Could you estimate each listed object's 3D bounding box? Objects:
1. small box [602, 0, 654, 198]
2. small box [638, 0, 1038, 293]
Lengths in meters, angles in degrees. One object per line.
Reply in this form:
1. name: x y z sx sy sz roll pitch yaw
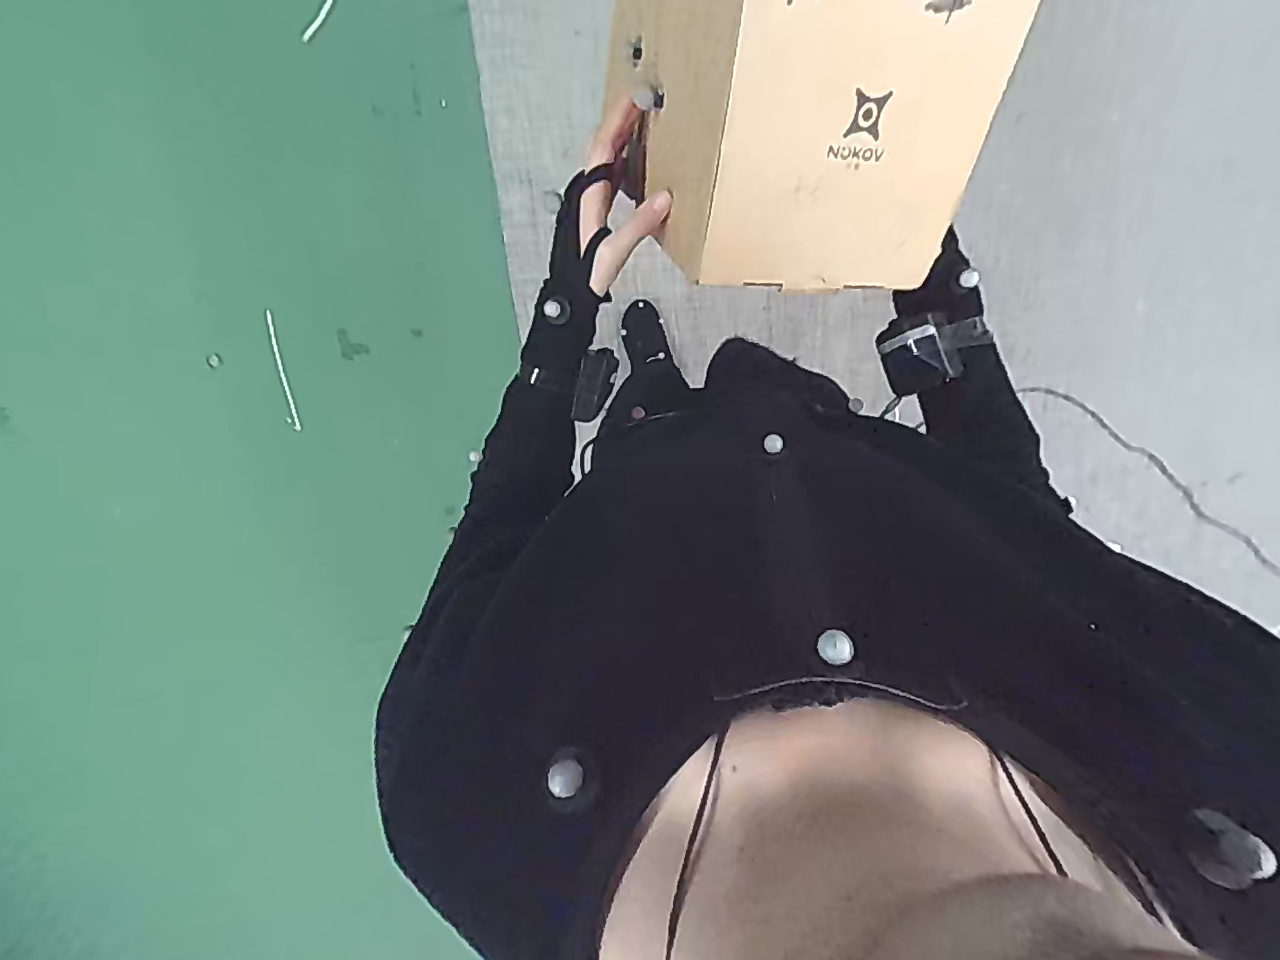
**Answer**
1. small box: 0.067 -0.351 0.481 0.168 0.176 0.179 2 129 -17
2. small box: 0.099 -0.244 0.360 0.168 0.176 0.179 -4 131 -14
